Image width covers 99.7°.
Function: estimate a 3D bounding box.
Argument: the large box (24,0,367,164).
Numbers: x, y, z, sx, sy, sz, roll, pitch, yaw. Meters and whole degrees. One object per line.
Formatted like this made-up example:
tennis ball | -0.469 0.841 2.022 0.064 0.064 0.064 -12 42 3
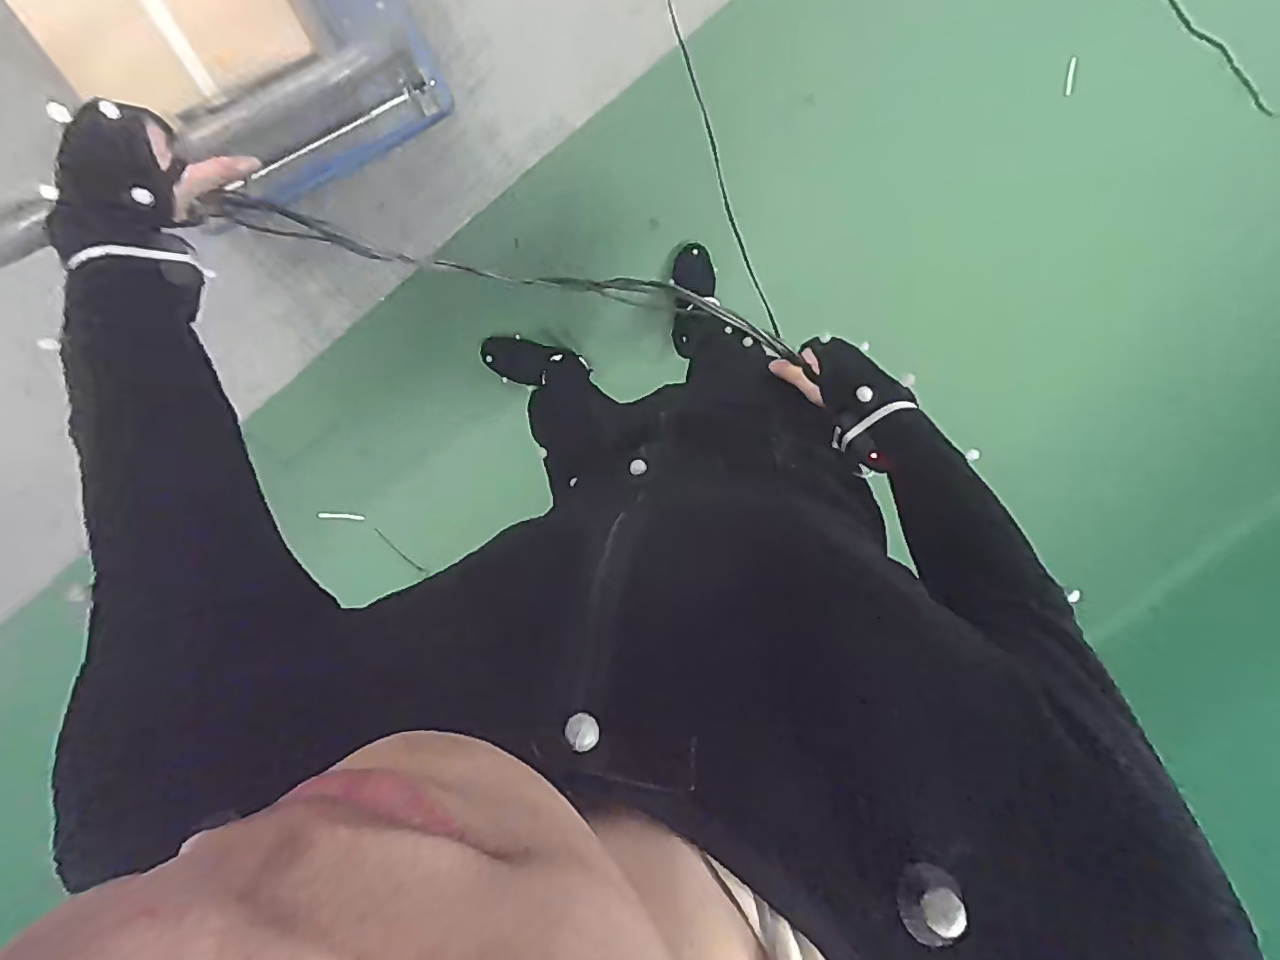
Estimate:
large box | -0.700 -0.765 0.820 0.320 0.320 0.408 -26 119 -2
